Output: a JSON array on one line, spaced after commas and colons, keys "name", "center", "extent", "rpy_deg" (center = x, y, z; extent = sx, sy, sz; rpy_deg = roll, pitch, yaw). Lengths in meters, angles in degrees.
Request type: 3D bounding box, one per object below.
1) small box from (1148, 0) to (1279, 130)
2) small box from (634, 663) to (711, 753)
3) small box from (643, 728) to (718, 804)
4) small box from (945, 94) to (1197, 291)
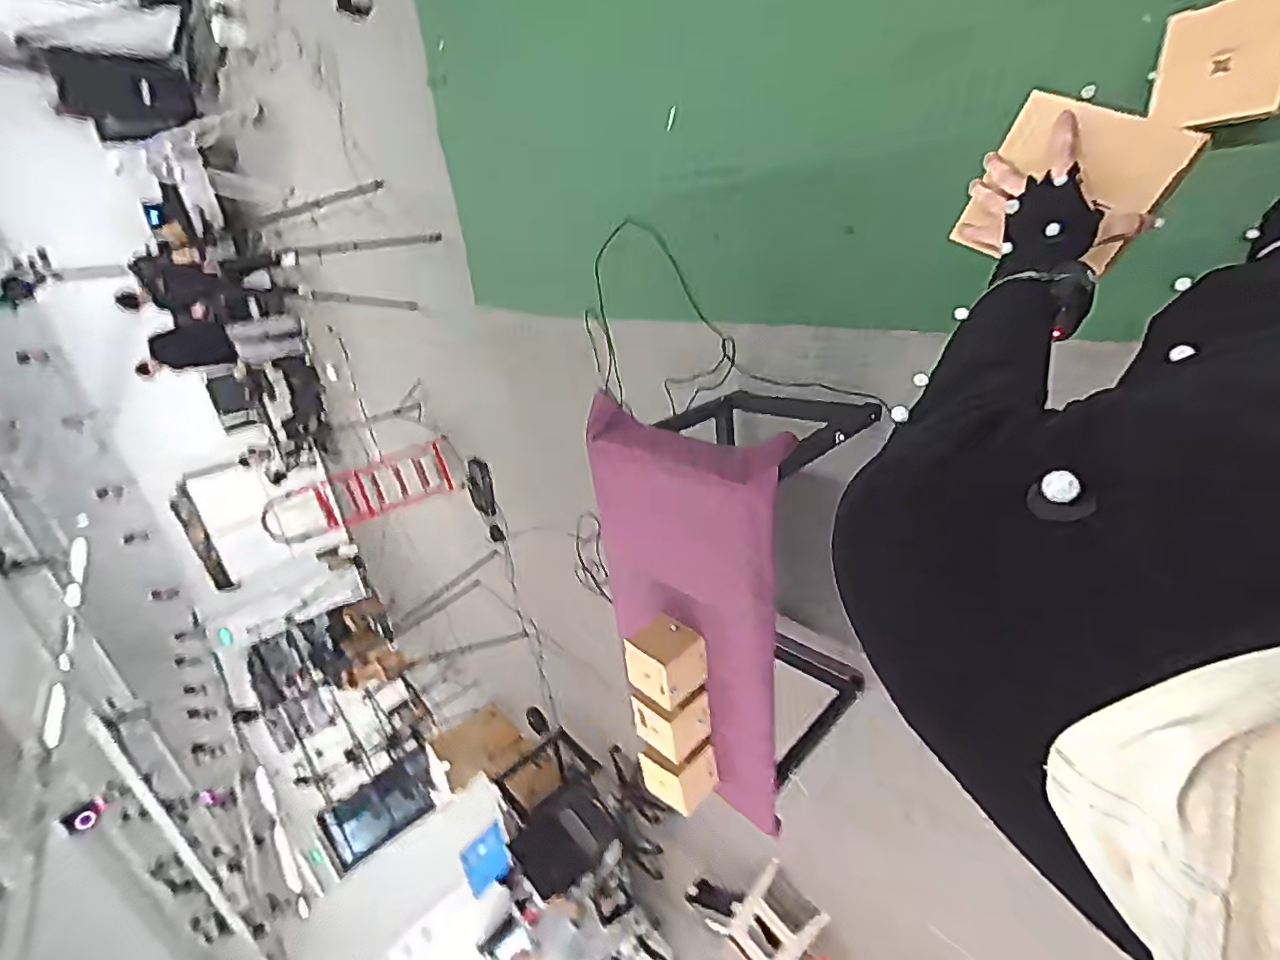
[{"name": "small box", "center": [1.033, -0.726, 0.942], "extent": [0.168, 0.176, 0.179], "rpy_deg": [19, 124, 45]}, {"name": "small box", "center": [0.105, 0.715, 1.725], "extent": [0.179, 0.176, 0.168], "rpy_deg": [17, 124, 45]}, {"name": "small box", "center": [0.138, 0.924, 1.808], "extent": [0.179, 0.176, 0.168], "rpy_deg": [12, 120, 47]}, {"name": "small box", "center": [0.536, -0.359, 0.682], "extent": [0.179, 0.176, 0.168], "rpy_deg": [39, 135, 26]}]
